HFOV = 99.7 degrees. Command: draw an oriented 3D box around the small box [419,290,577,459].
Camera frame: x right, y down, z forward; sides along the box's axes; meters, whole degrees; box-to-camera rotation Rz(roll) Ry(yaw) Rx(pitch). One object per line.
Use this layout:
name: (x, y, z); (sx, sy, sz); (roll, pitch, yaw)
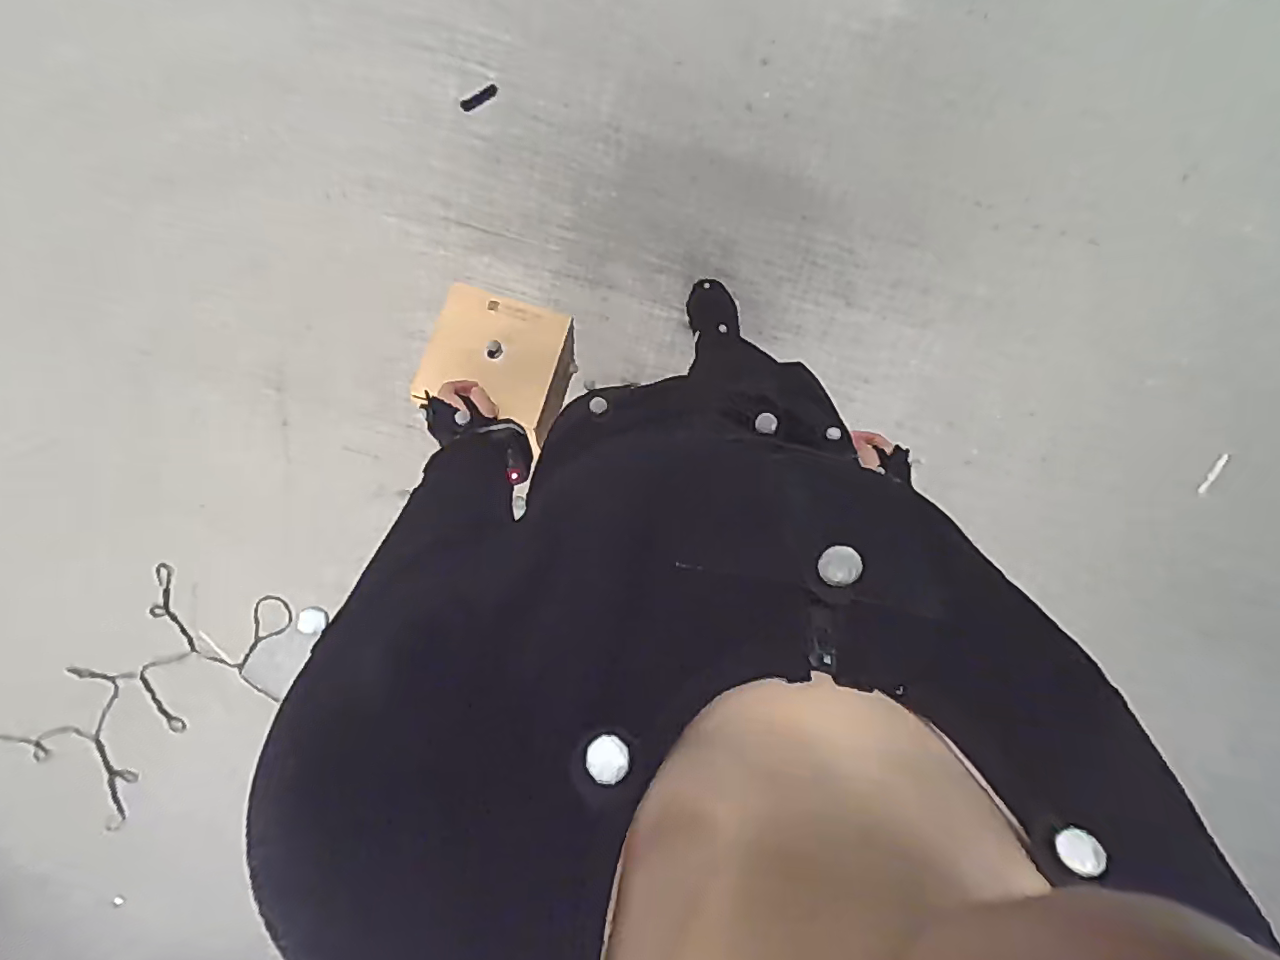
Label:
small box: (-0.192, -0.147, 0.783); (0.168, 0.179, 0.176); (16, 79, -2)
